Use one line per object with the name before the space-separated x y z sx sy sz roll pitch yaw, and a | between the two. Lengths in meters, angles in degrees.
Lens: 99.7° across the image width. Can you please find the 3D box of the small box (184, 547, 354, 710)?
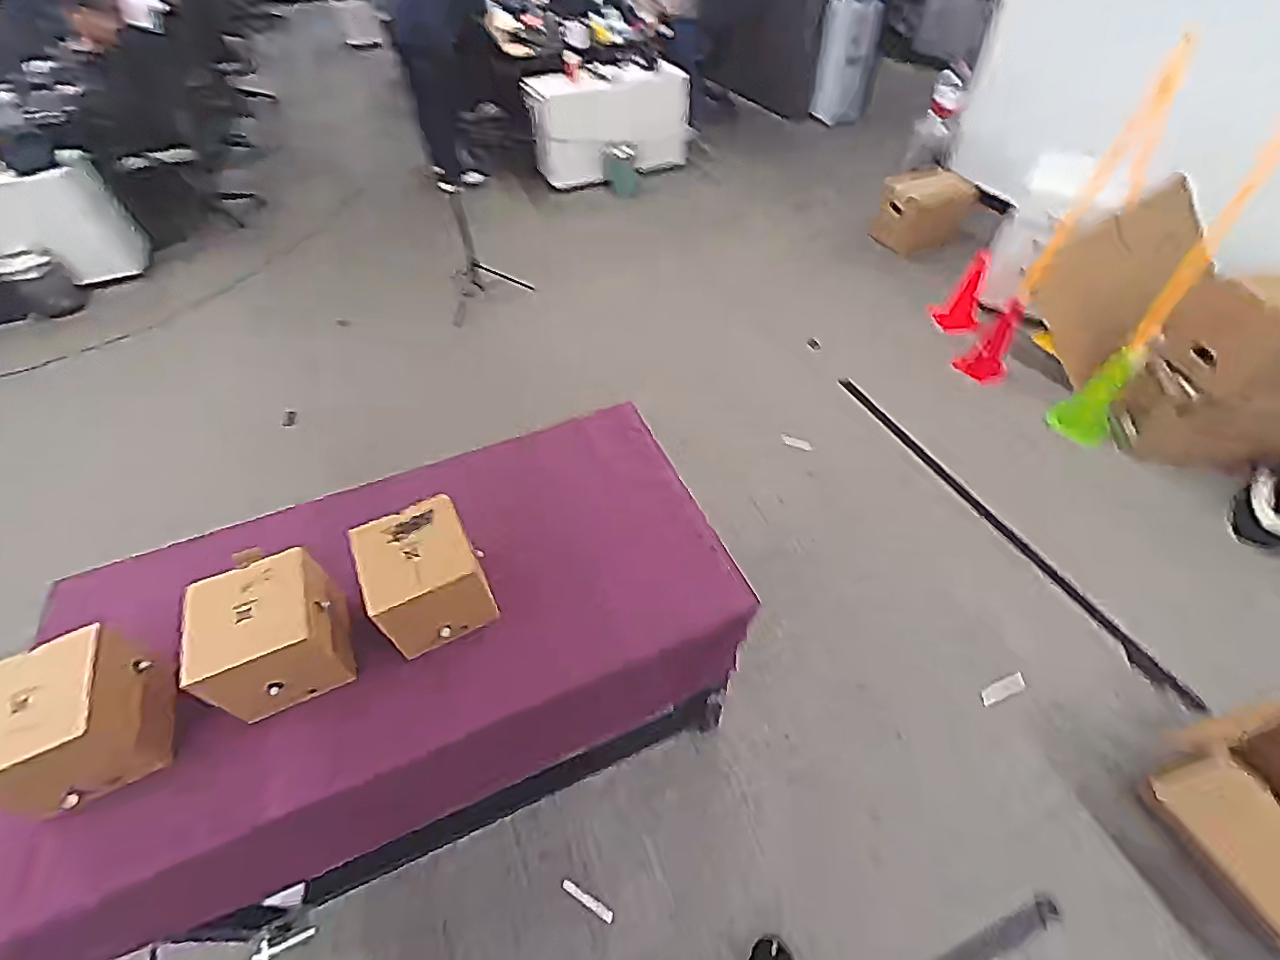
small box | -0.583 0.246 0.869 0.168 0.176 0.179 -21 52 -15

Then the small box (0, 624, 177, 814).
small box | -0.825 0.350 0.791 0.168 0.176 0.179 -23 53 -16

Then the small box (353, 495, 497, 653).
small box | -0.364 0.163 0.931 0.168 0.176 0.179 -24 54 -17
